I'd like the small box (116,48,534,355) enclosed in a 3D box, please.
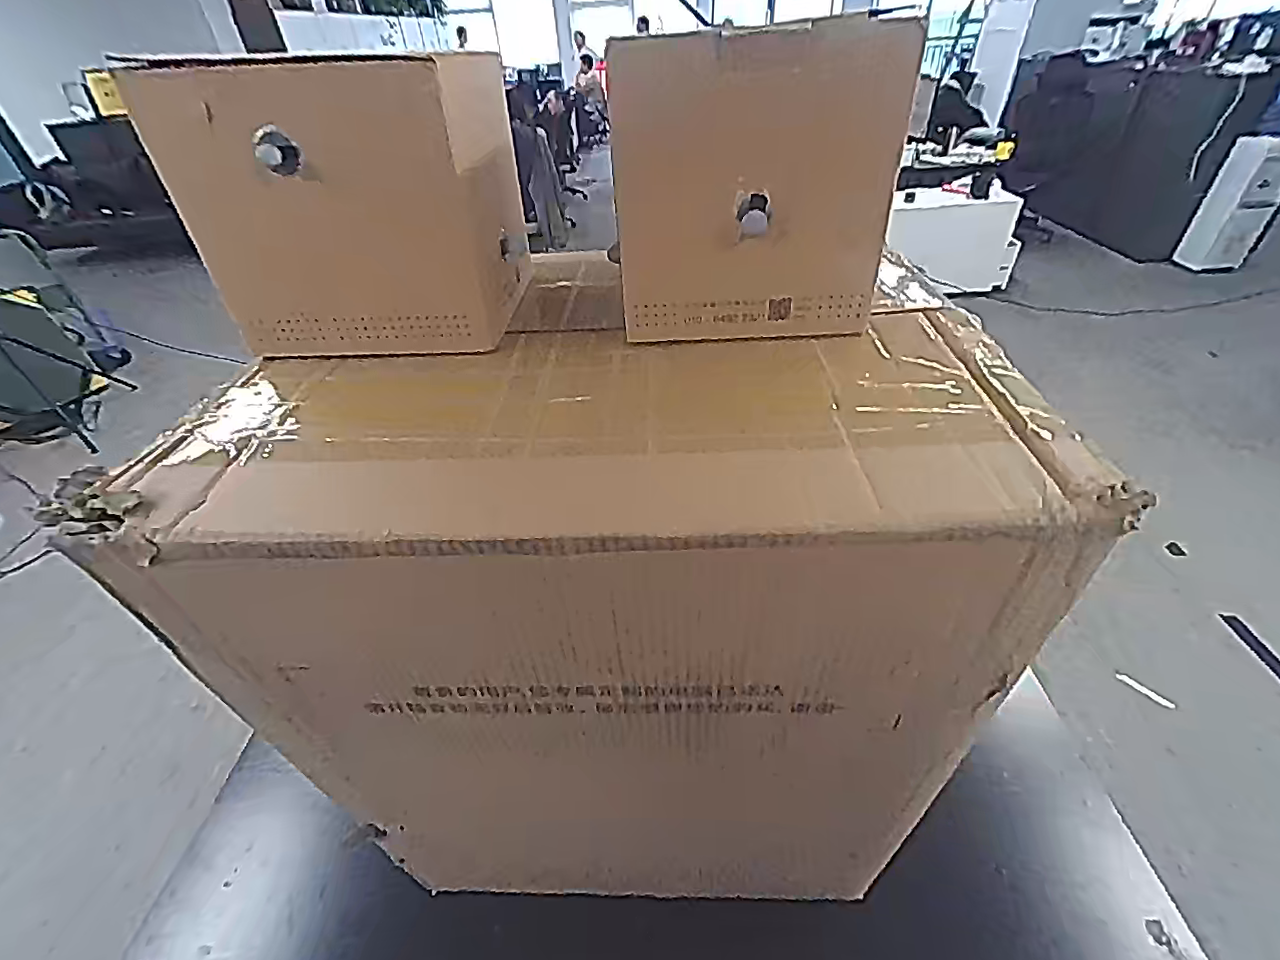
[{"bbox_3d":[-0.187,-0.200,0.392,0.179,0.176,0.168,-1,39,1],"label":"small box"}]

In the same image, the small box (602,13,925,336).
[{"bbox_3d":[0.071,-0.211,0.385,0.168,0.176,0.179,-1,38,4],"label":"small box"}]
